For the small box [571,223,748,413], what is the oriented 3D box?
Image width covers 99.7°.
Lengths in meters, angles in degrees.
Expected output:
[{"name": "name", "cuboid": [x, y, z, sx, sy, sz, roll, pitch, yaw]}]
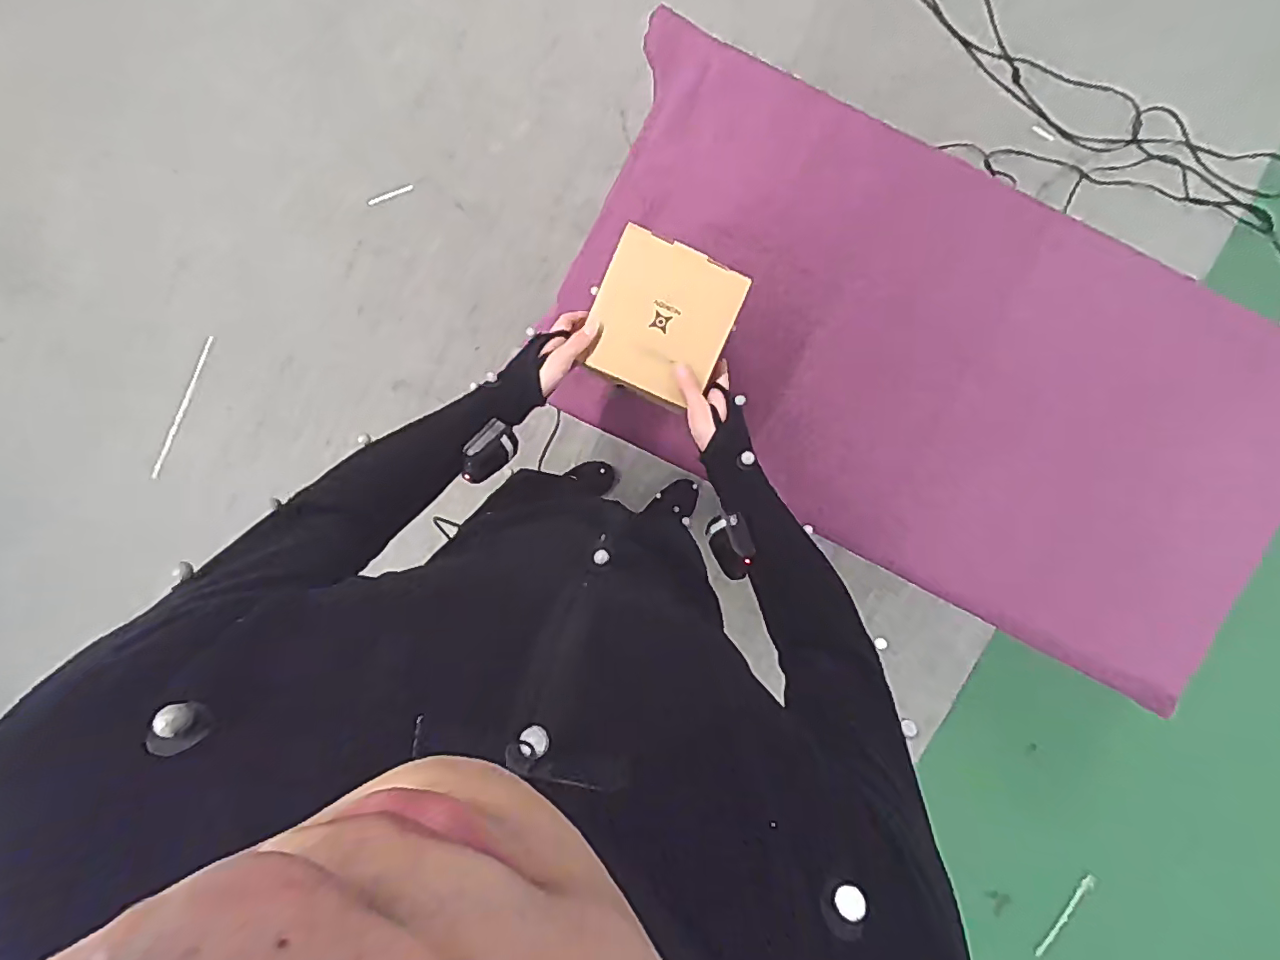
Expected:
[{"name": "small box", "cuboid": [0.019, -0.201, 0.726, 0.168, 0.176, 0.179, 24, 95, -4]}]
